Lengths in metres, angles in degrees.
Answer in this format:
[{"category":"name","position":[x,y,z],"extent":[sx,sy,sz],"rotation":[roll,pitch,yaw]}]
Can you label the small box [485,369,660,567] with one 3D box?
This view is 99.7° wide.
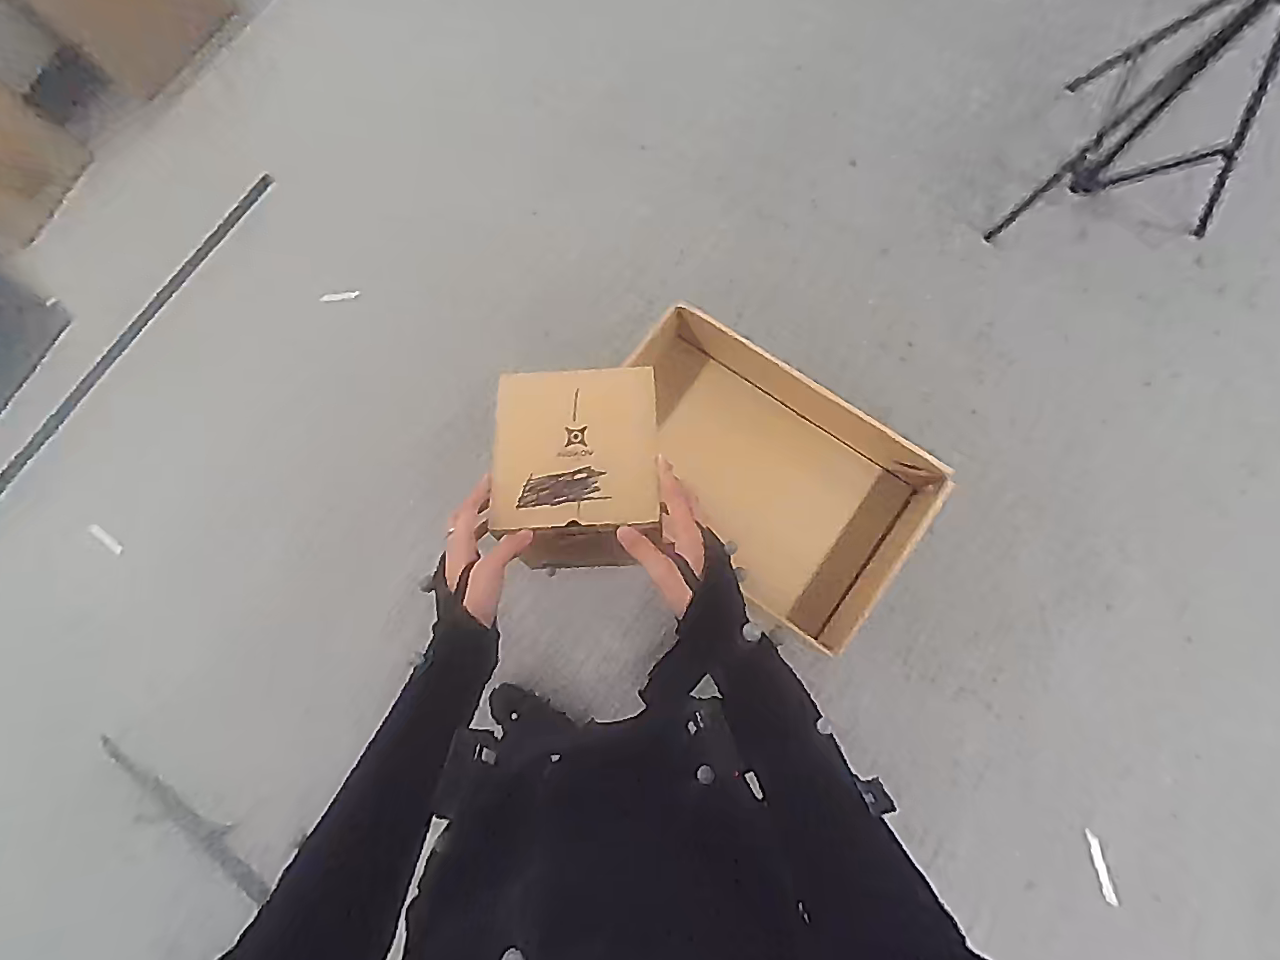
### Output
[{"category":"small box","position":[-0.065,-0.002,0.610],"extent":[0.168,0.176,0.179],"rotation":[-3,68,2]}]
